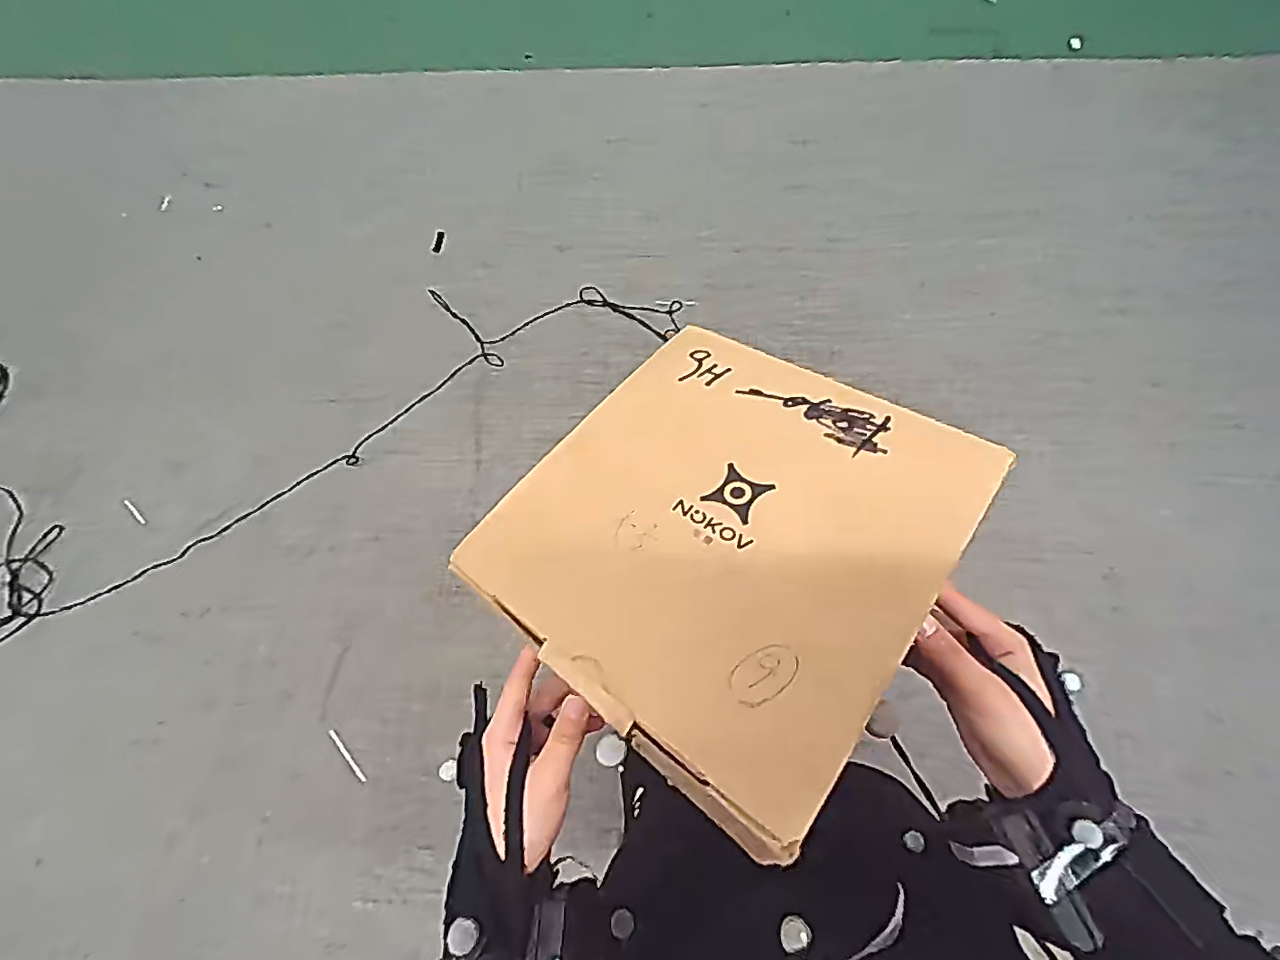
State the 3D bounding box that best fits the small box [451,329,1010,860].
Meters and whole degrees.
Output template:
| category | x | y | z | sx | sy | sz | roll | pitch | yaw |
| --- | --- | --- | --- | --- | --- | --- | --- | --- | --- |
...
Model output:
| category | x | y | z | sx | sy | sz | roll | pitch | yaw |
| --- | --- | --- | --- | --- | --- | --- | --- | --- | --- |
| small box | 0.046 | 0.060 | 0.285 | 0.168 | 0.176 | 0.179 | 31 | 66 | 28 |
